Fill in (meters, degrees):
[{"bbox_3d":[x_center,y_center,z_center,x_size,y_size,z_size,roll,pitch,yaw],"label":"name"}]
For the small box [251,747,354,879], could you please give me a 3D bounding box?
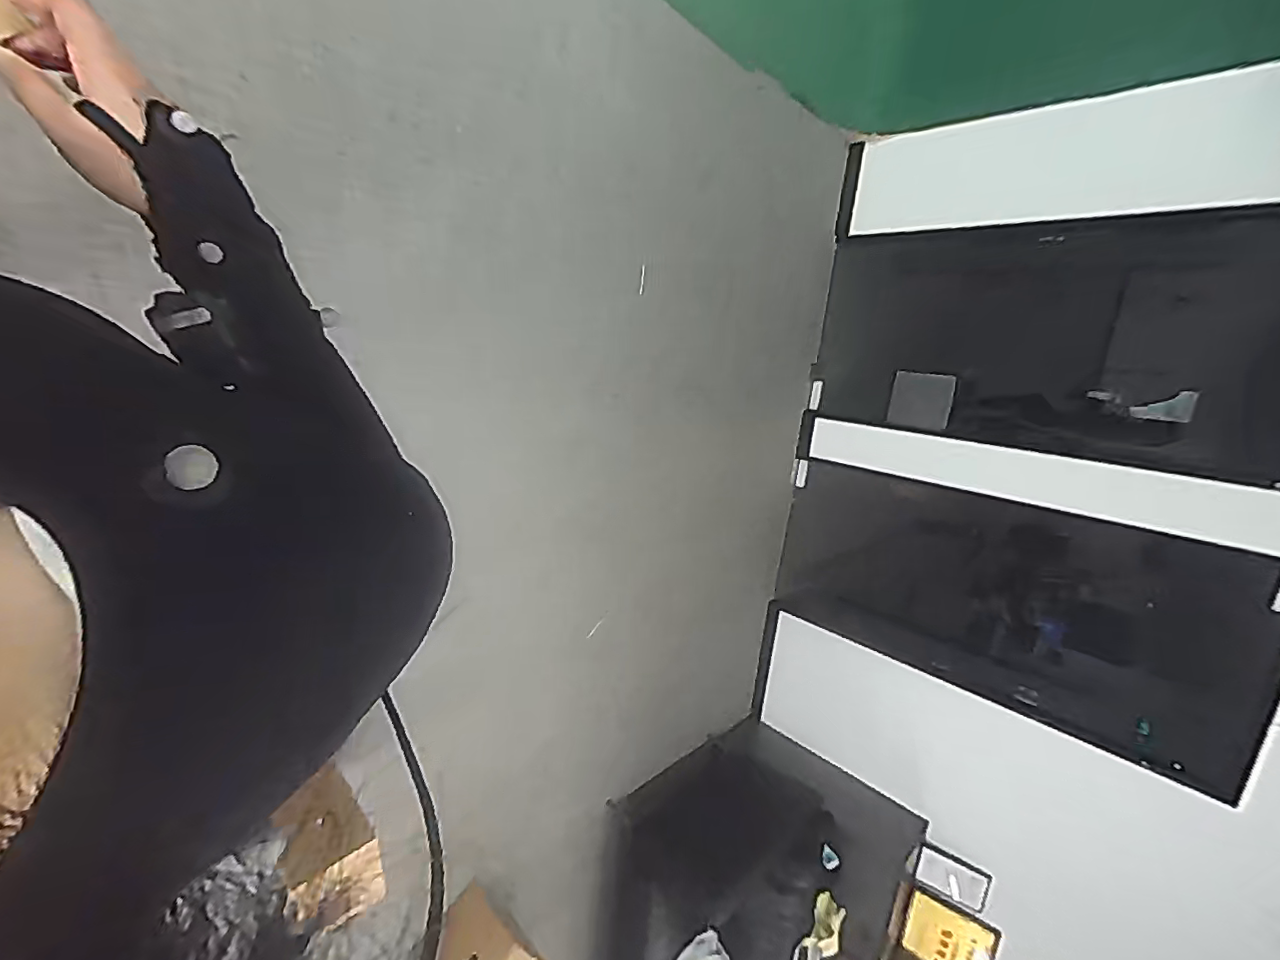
[{"bbox_3d":[-0.822,0.798,1.315,0.179,0.176,0.168,-13,115,-46],"label":"small box"}]
